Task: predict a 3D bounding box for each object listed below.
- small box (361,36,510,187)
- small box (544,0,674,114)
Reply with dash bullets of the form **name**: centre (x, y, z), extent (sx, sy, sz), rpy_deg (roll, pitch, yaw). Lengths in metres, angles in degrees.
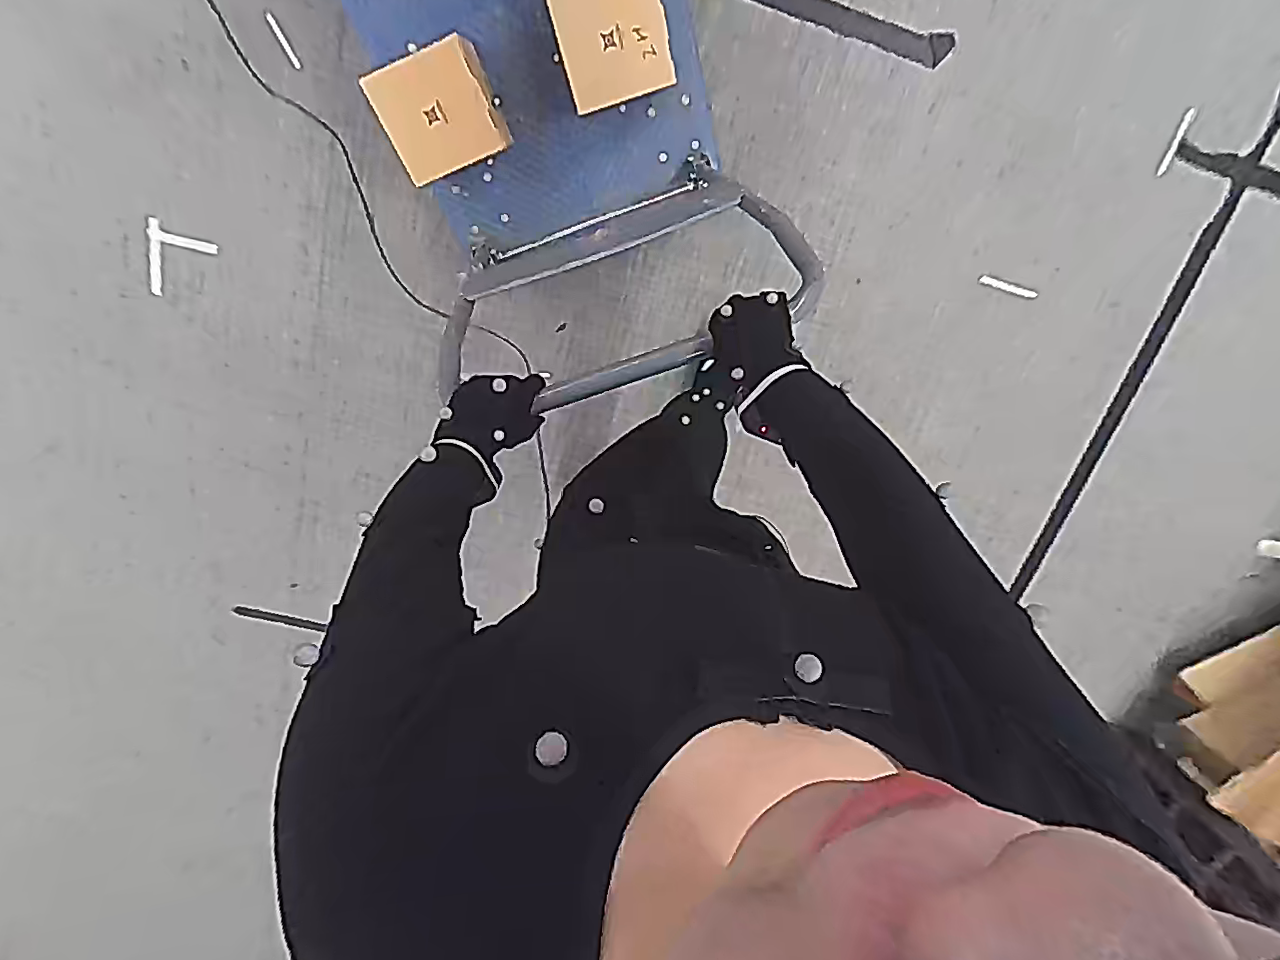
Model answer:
- **small box**: centre (-0.350, -0.647, 0.964), extent (0.179, 0.176, 0.168), rpy_deg (-21, 124, 6)
- **small box**: centre (-0.052, -0.749, 0.928), extent (0.179, 0.176, 0.168), rpy_deg (-16, 125, 5)
